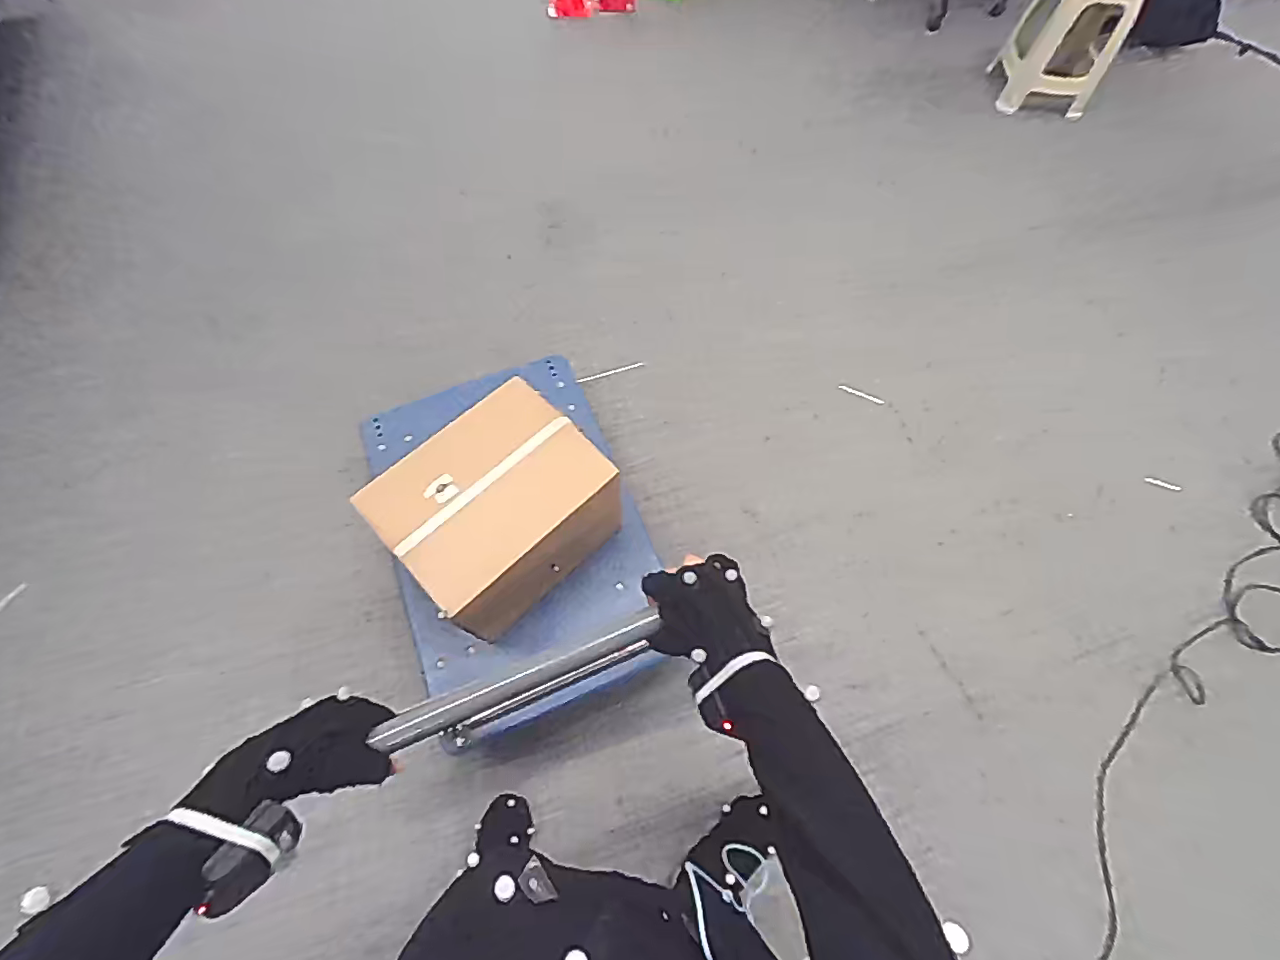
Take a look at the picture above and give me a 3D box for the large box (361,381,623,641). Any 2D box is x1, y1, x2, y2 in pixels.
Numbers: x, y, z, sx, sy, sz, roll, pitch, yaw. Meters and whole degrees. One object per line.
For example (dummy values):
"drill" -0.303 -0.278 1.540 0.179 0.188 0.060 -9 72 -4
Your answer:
"large box" -0.280 0.077 1.162 0.320 0.320 0.408 42 72 17
